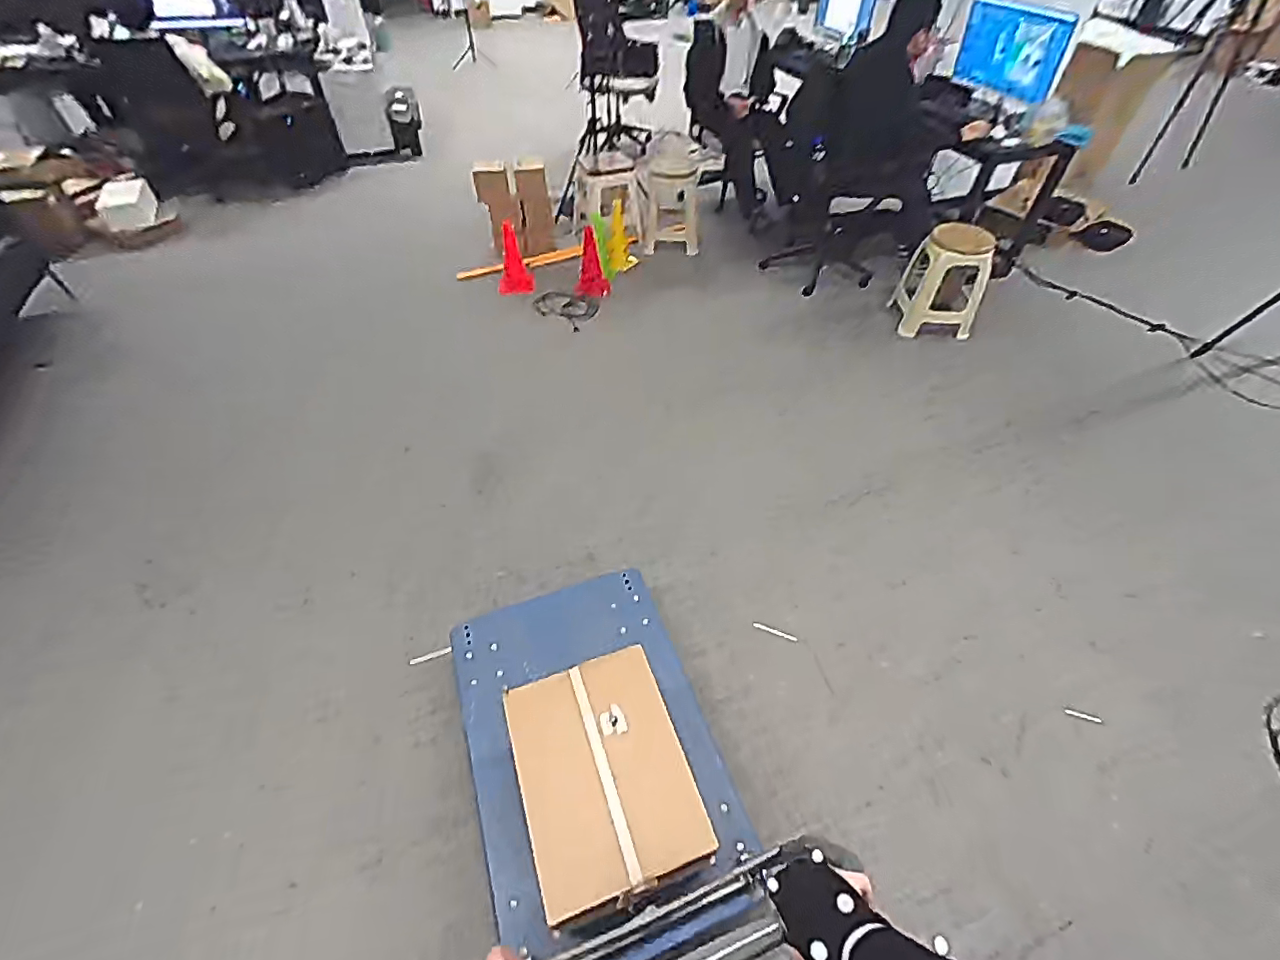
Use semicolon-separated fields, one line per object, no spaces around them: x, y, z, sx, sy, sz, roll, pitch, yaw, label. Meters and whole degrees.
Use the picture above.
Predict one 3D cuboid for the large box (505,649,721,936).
-0.063;0.649;1.144;0.320;0.320;0.408;-16;49;-13;large box
